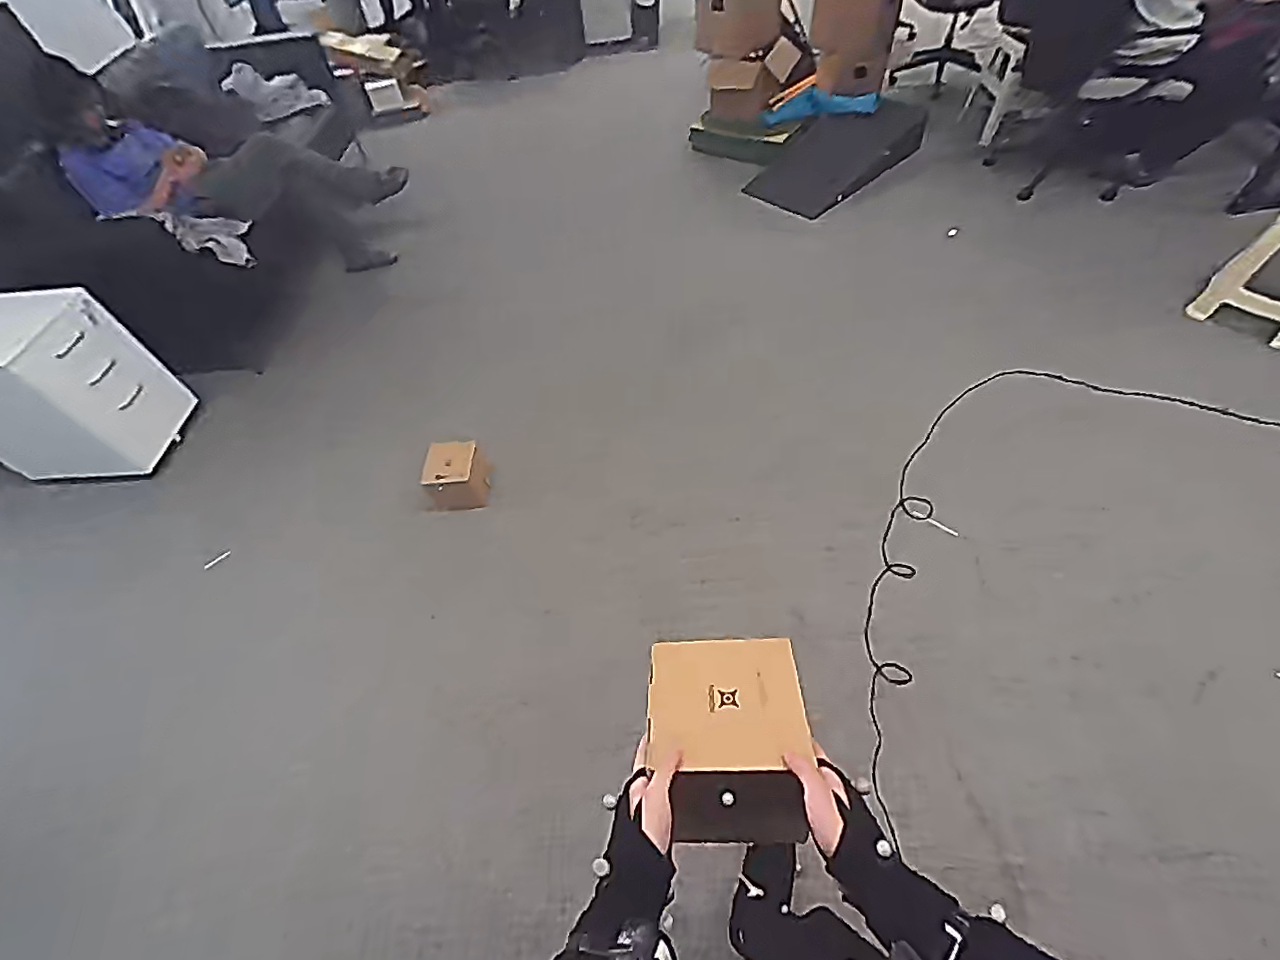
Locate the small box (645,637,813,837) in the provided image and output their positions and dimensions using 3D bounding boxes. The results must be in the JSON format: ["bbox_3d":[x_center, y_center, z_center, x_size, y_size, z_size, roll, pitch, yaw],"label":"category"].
[{"bbox_3d":[0.103,0.315,0.667,0.179,0.176,0.168,-3,35,4],"label":"small box"}]

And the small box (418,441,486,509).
[{"bbox_3d":[-0.650,-0.016,1.894,0.168,0.176,0.179,-4,53,4],"label":"small box"}]
